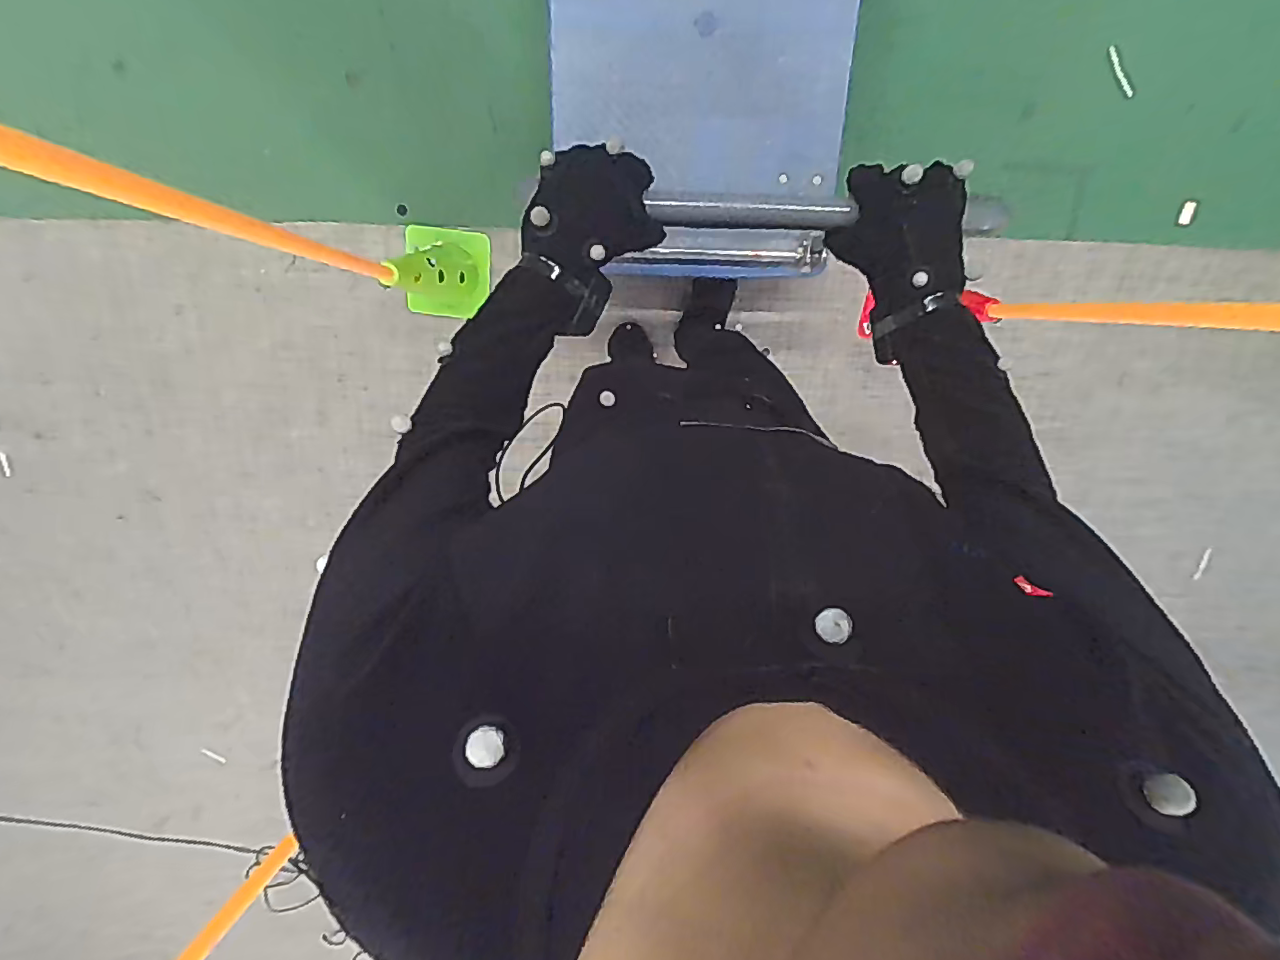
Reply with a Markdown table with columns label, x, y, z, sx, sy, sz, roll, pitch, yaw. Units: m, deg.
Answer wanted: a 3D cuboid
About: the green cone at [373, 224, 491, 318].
| label | x | y | z | sx | sy | sz | roll | pitch | yaw |
| --- | --- | --- | --- | --- | --- | --- | --- | --- | --- |
| green cone | -0.465 | -0.448 | 1.158 | 0.202 | 0.368 | 0.200 | 6 | 110 | -2 |
